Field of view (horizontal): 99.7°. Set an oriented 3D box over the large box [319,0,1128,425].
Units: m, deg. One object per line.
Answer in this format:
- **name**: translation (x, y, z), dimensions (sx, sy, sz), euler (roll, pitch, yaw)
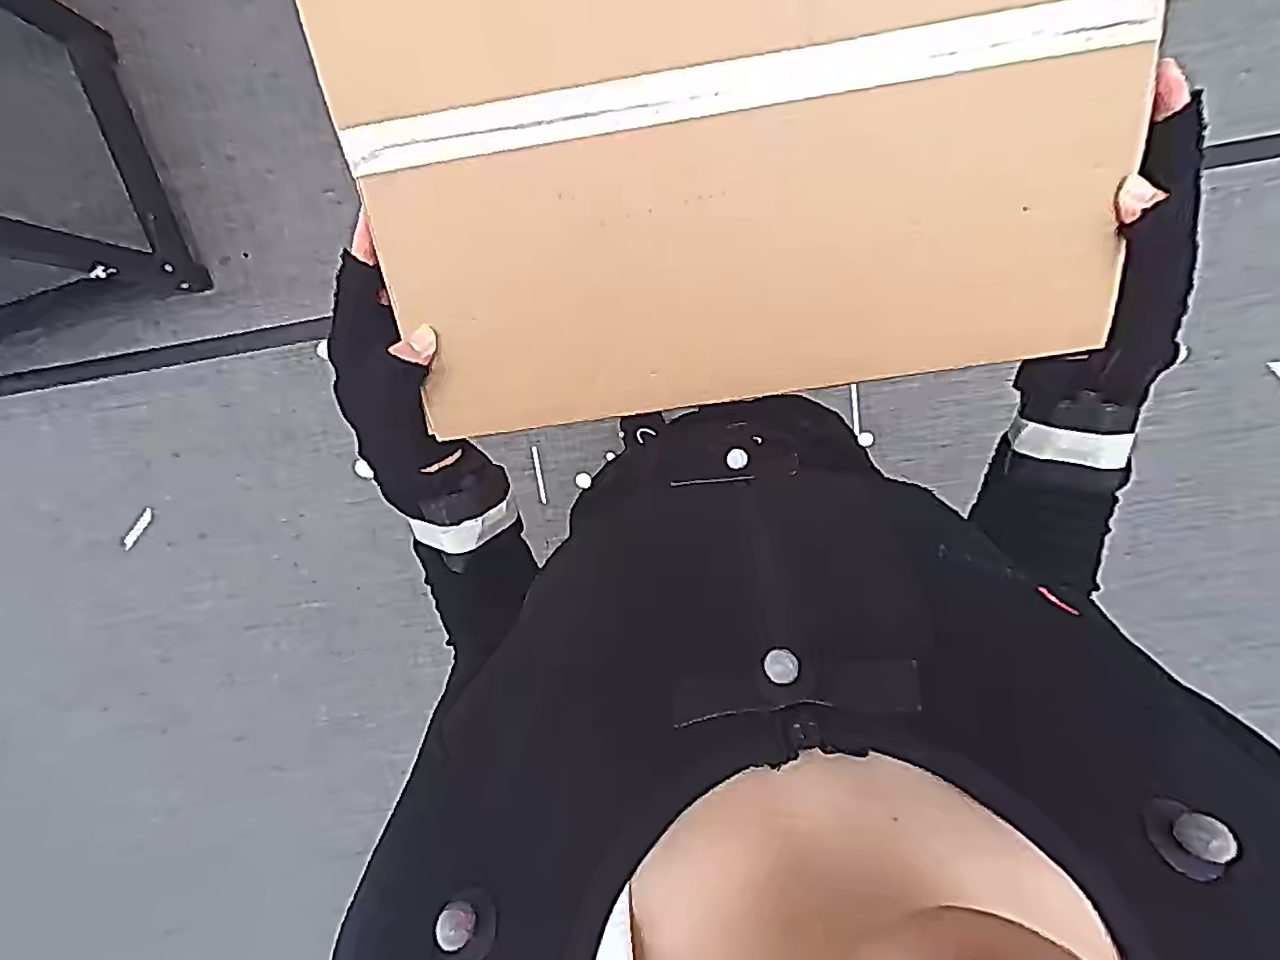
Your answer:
- **large box**: translation (0.044, -0.257, 0.420), dimensions (0.408, 0.320, 0.320), euler (-8, 113, 2)
